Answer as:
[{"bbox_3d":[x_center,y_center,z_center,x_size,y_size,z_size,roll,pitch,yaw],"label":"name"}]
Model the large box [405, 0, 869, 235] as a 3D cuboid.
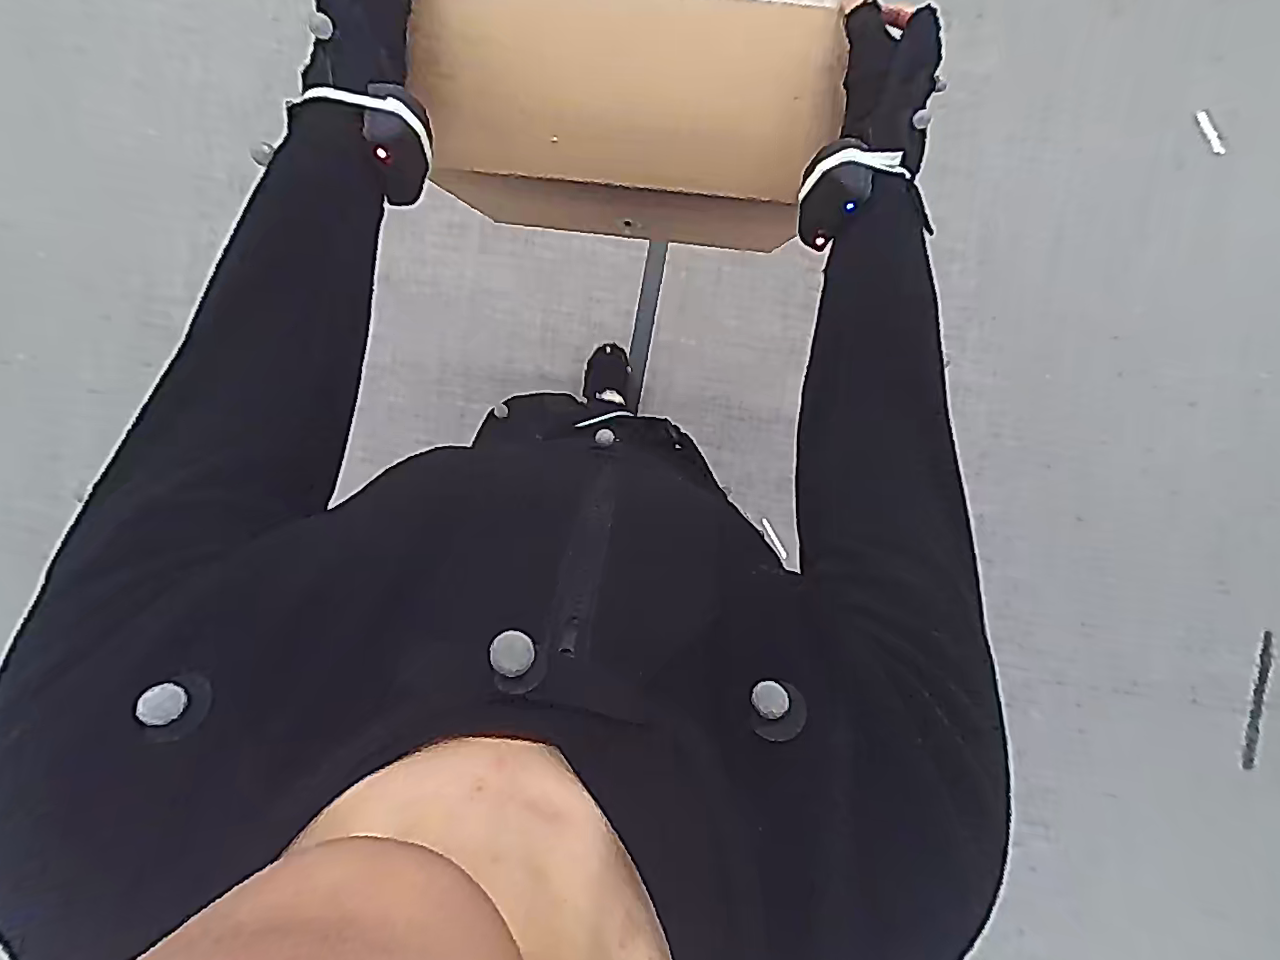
[{"bbox_3d":[0.004,-0.471,0.598,0.408,0.320,0.320,6,106,0],"label":"large box"}]
